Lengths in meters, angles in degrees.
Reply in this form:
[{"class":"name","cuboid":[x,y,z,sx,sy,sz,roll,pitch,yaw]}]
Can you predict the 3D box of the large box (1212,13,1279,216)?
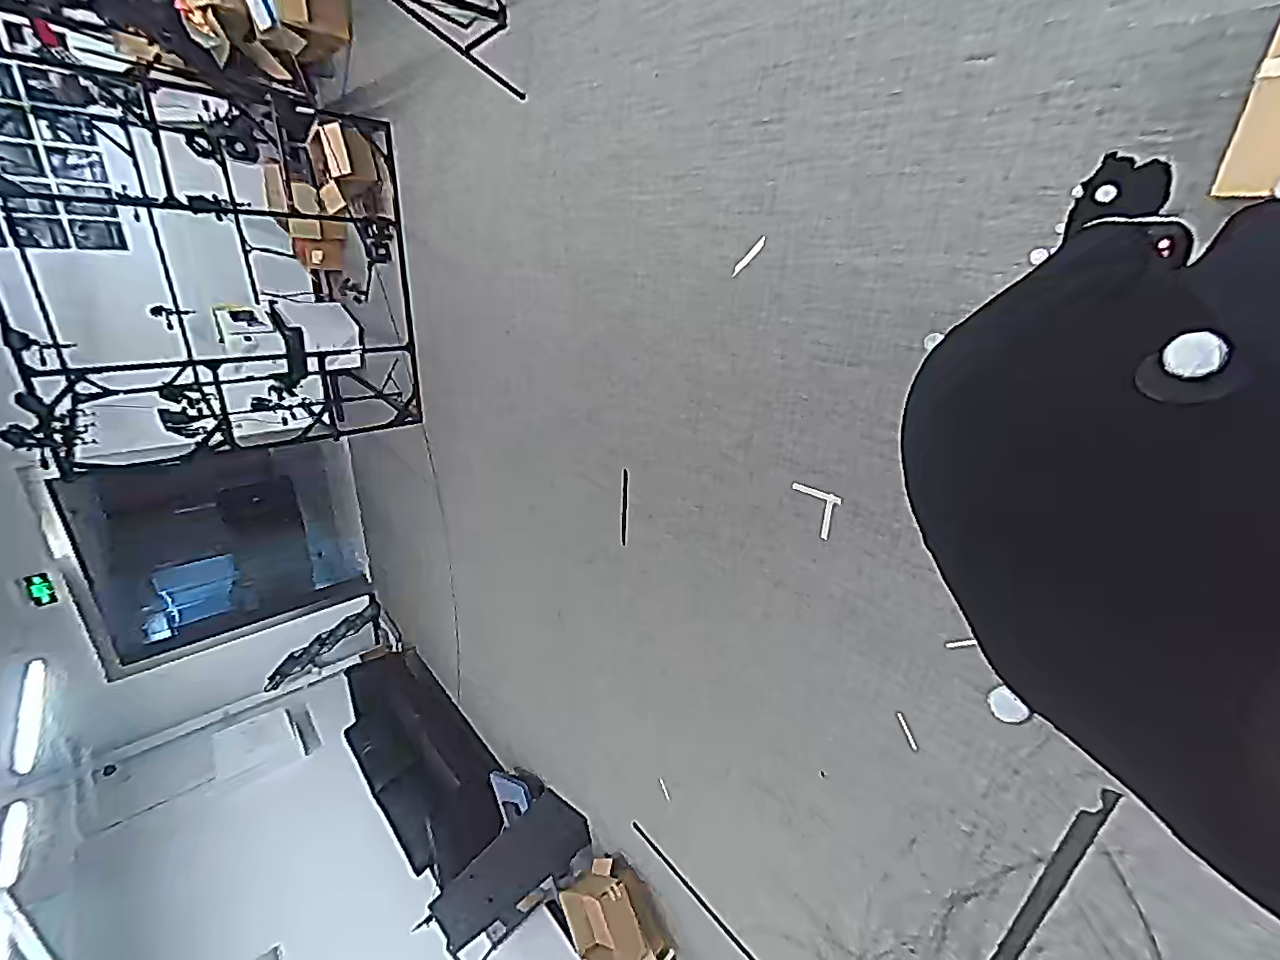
[{"class":"large box","cuboid":[1.087,-0.532,0.703,0.408,0.320,0.320,25,122,41]}]
